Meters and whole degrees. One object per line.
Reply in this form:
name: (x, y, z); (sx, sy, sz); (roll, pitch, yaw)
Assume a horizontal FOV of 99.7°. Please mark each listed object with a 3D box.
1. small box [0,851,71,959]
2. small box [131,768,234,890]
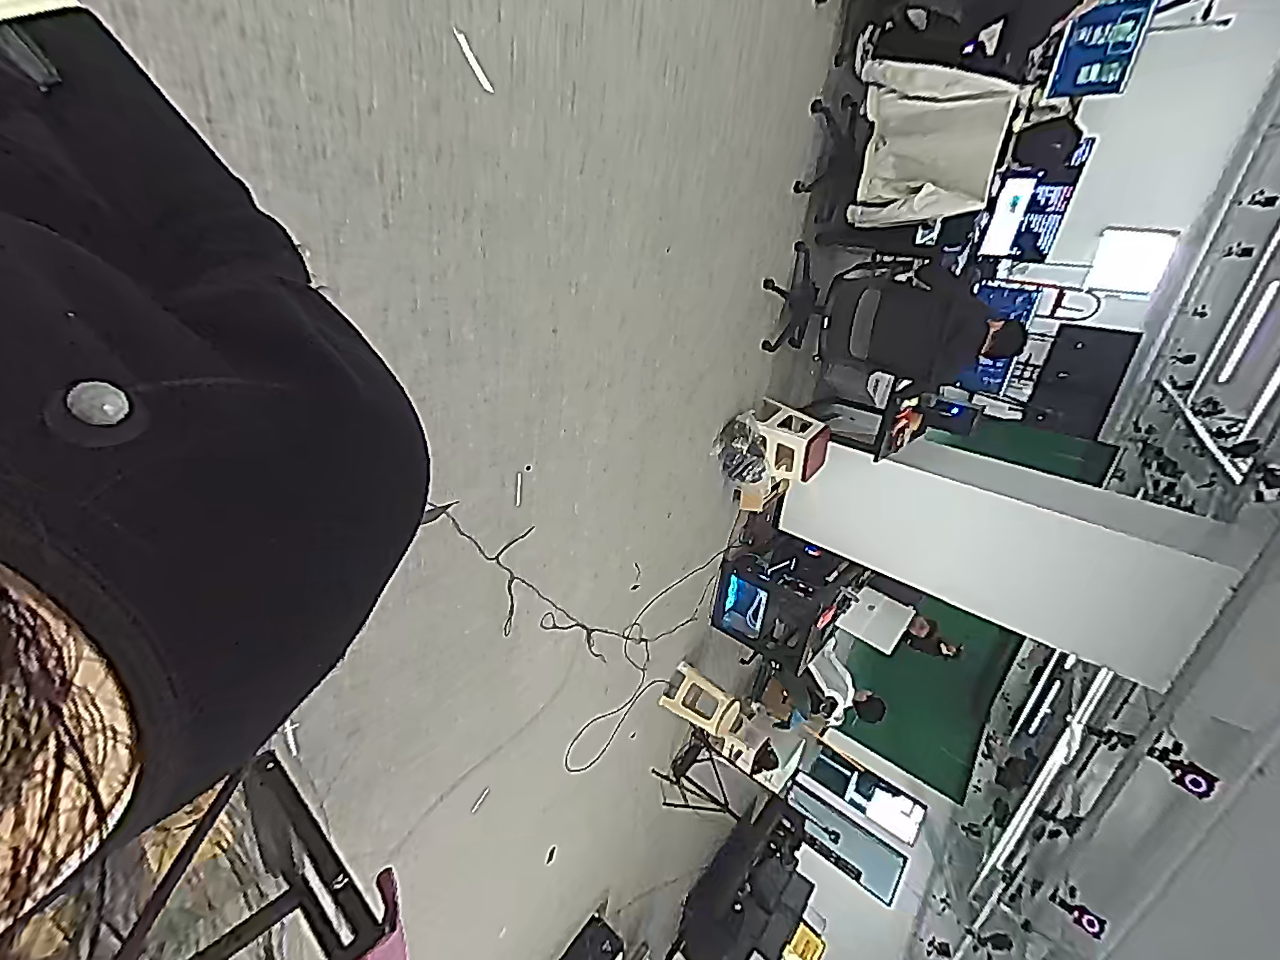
small box: (-1.411, 0.983, 1.197); (0.168, 0.176, 0.179); (-21, 125, -47)
small box: (-1.212, 0.916, 1.435); (0.168, 0.176, 0.179); (-18, 125, -49)
